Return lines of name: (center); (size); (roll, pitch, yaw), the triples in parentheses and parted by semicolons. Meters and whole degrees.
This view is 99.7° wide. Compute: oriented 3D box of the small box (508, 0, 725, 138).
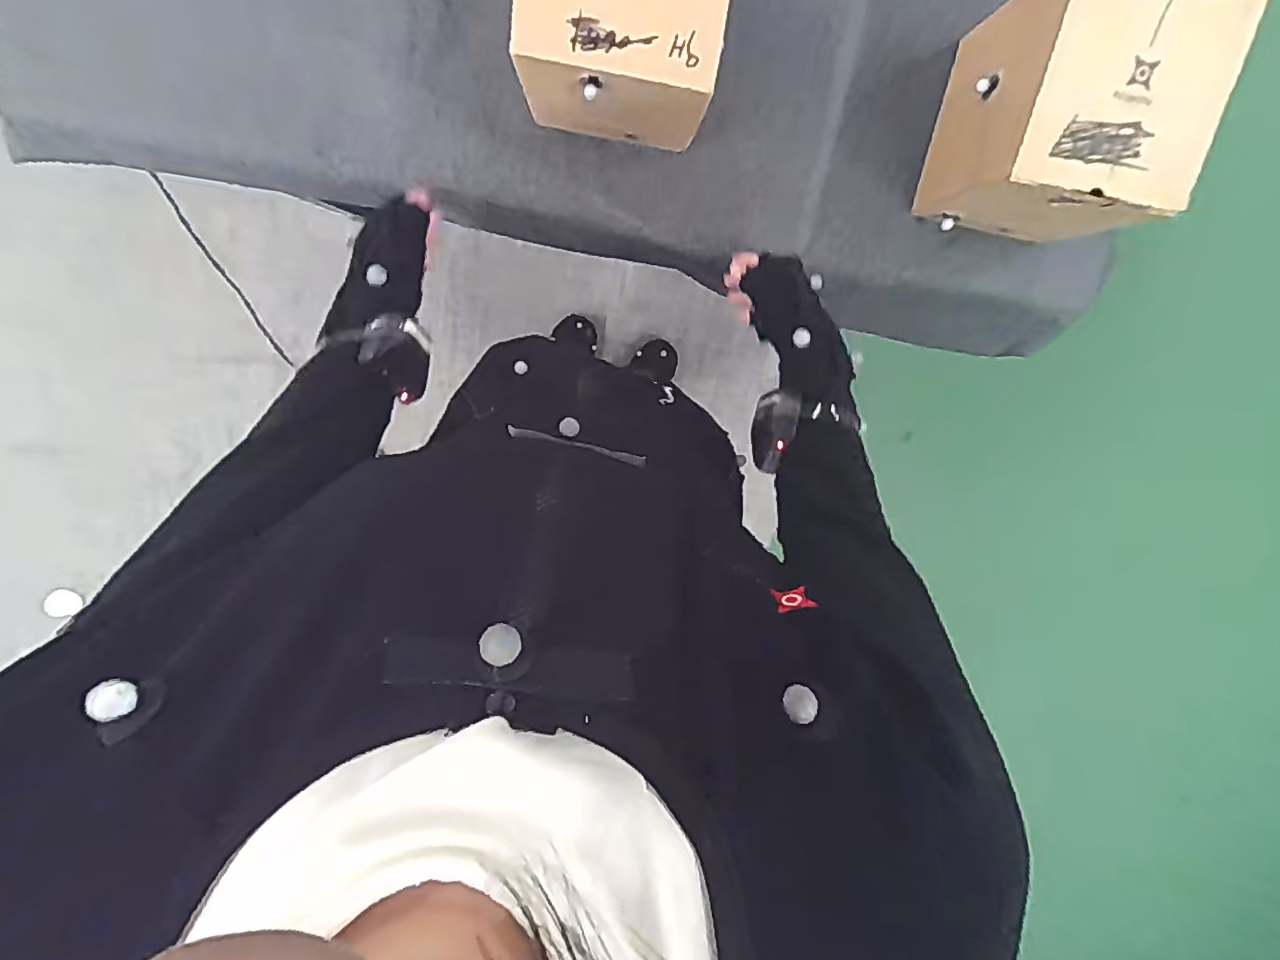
small box: (-0.014, -0.438, 0.477); (0.168, 0.176, 0.179); (8, 107, -6)

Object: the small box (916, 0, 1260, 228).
small box: (0.404, -0.360, 0.525); (0.168, 0.176, 0.179); (10, 106, -6)
